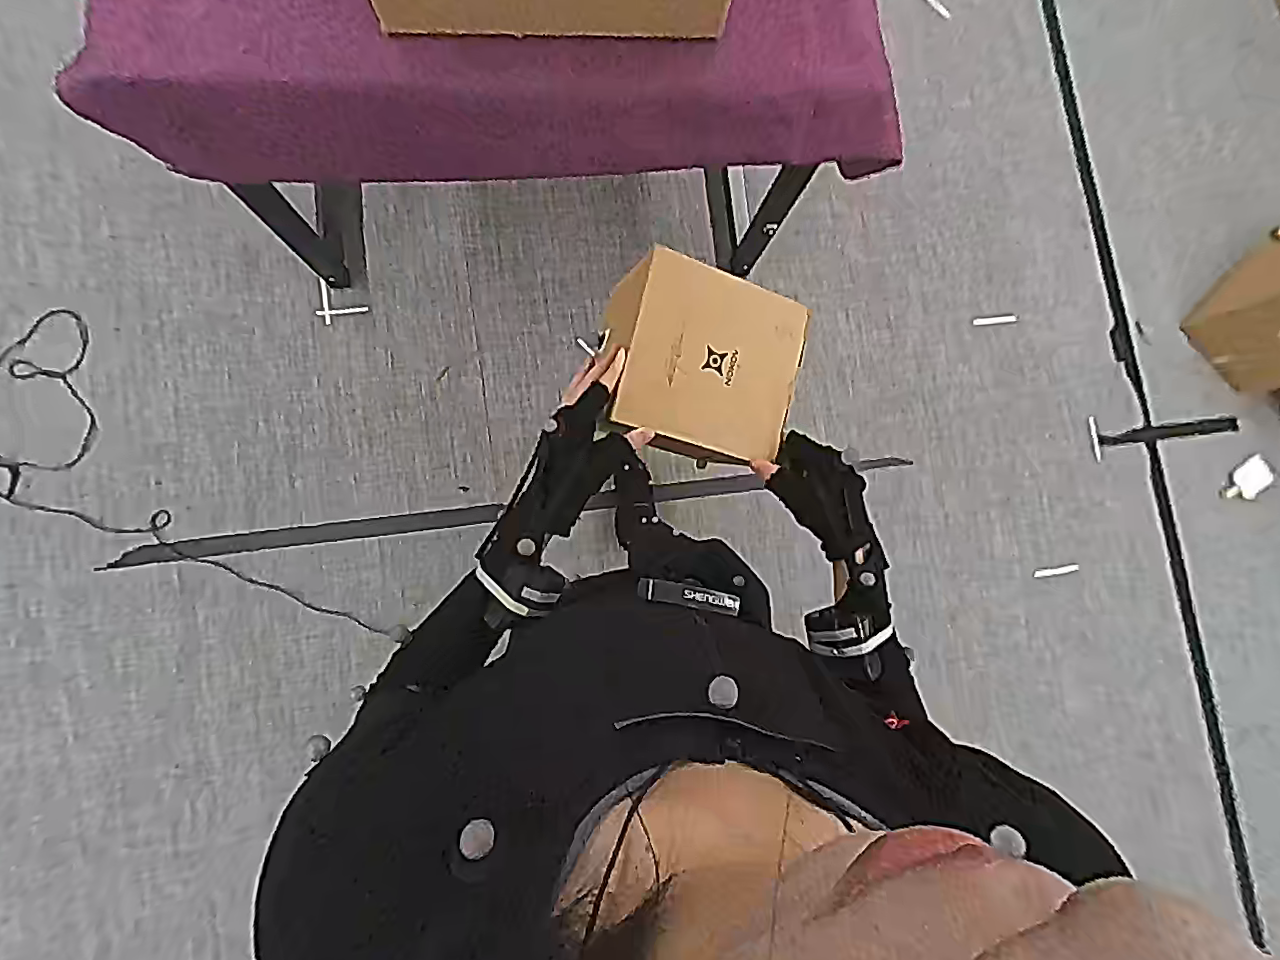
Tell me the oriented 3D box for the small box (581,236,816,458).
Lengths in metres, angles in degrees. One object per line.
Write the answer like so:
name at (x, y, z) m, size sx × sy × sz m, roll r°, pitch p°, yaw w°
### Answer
small box at (0.050, -0.125, 0.577) m, size 0.179 × 0.176 × 0.168 m, roll 13°, pitch 89°, yaw -17°
